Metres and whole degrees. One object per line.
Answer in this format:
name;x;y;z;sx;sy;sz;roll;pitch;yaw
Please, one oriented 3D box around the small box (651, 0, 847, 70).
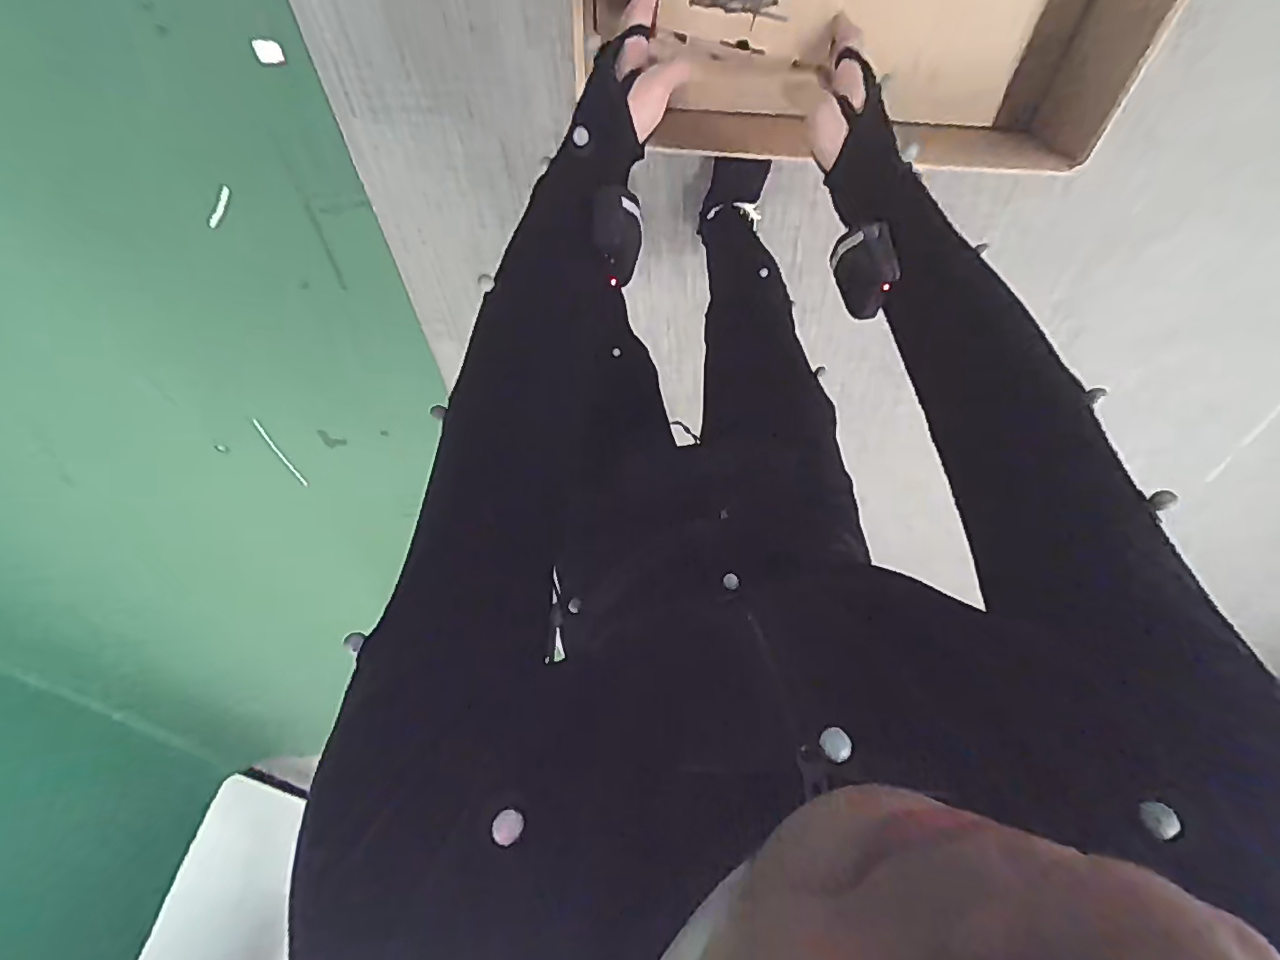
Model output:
small box;0.108;-0.518;0.518;0.168;0.176;0.179;6;122;-10
